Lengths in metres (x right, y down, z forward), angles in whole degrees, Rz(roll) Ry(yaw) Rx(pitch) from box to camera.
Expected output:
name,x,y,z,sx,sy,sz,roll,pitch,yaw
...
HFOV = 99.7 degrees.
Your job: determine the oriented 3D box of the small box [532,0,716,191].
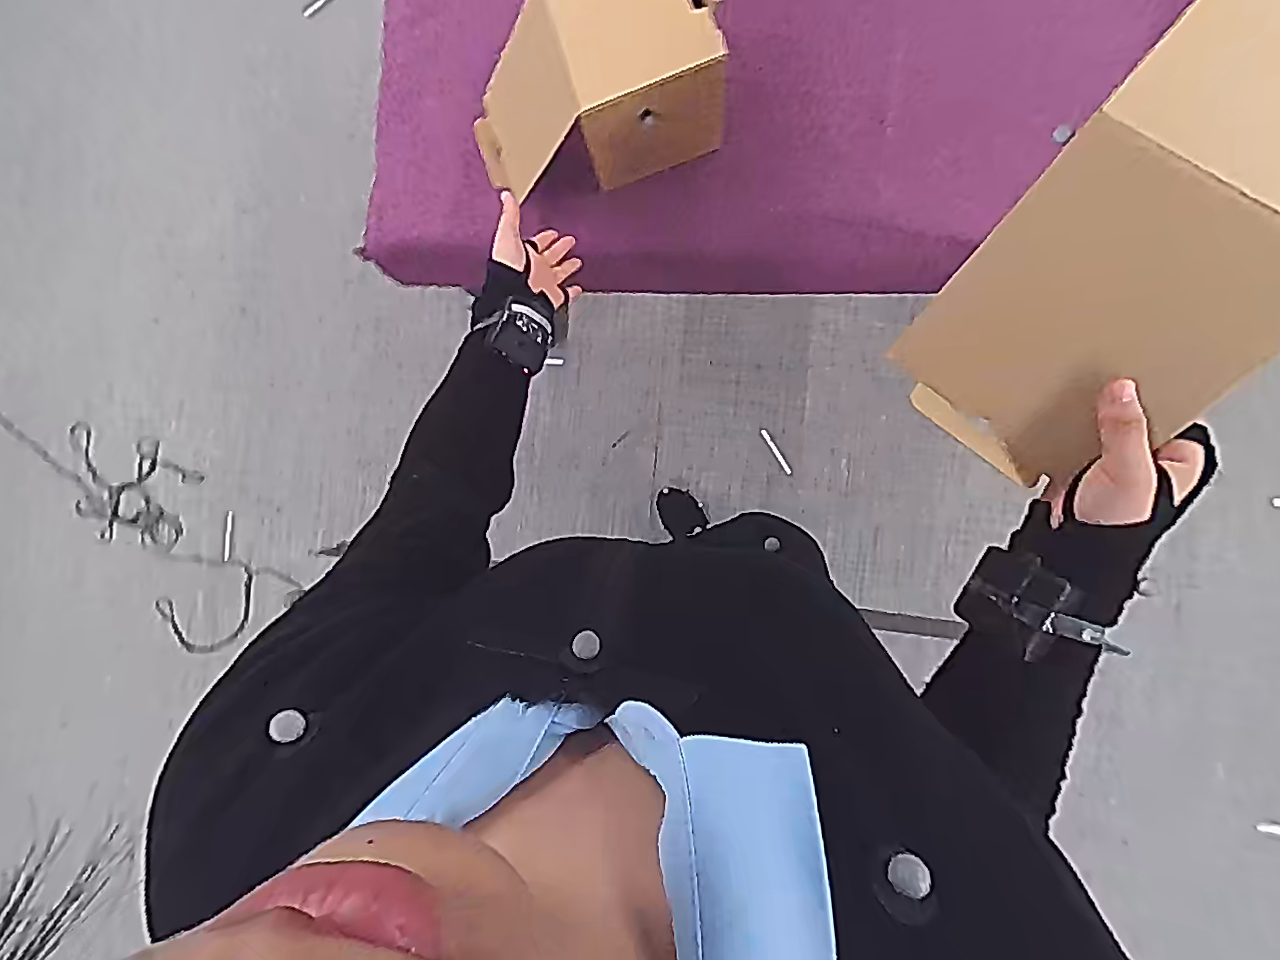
name,x,y,z,sx,sy,sz,roll,pitch,yaw
small box,-0.011,-0.504,0.682,0.179,0.176,0.168,-18,88,5
